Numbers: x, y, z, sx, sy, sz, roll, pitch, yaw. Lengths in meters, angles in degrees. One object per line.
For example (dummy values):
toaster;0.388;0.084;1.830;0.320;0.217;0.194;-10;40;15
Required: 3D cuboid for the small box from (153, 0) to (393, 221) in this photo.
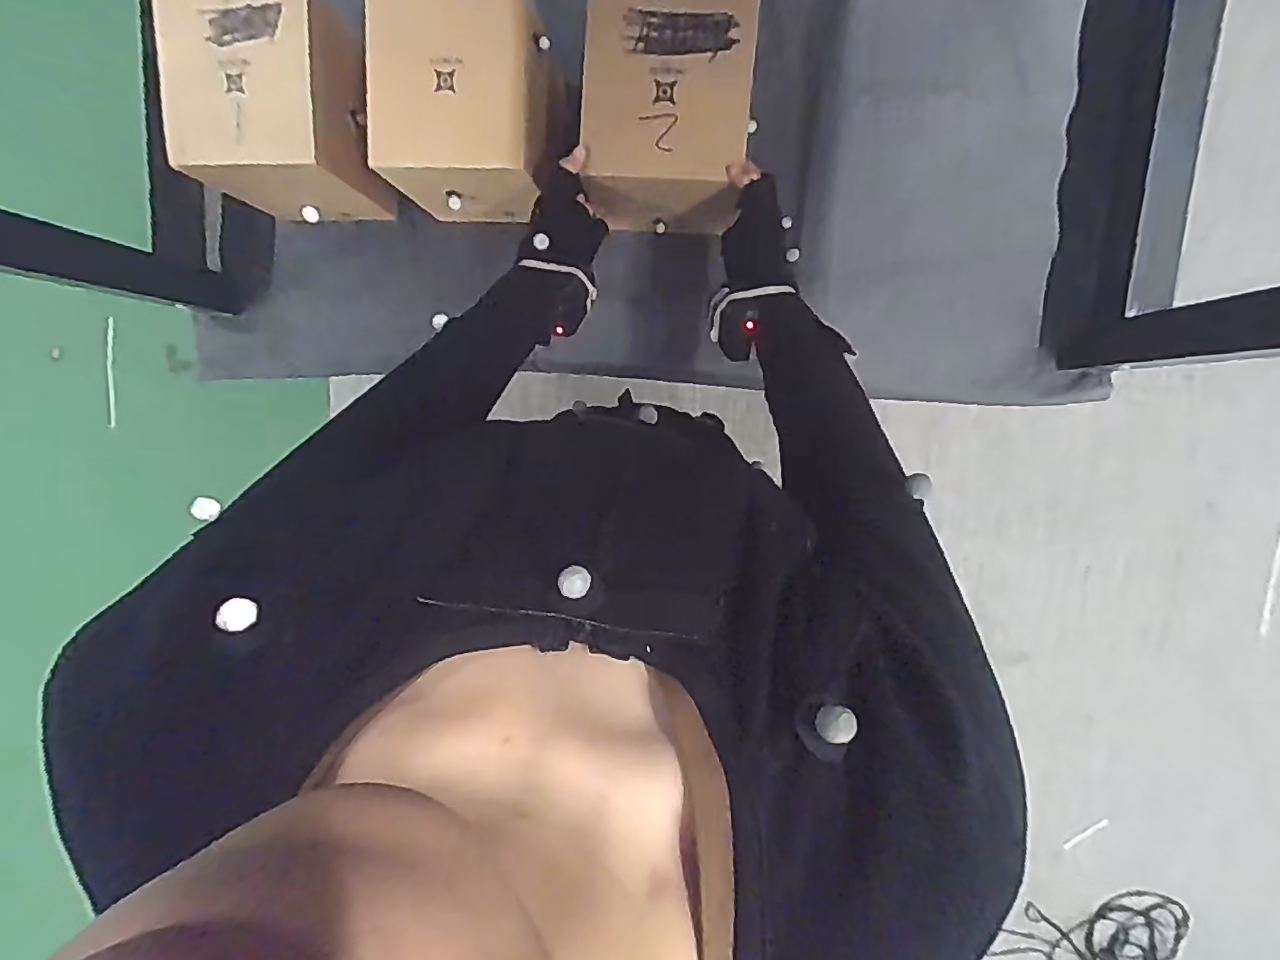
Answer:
small box;-0.407;-0.424;0.628;0.168;0.176;0.179;2;98;4
